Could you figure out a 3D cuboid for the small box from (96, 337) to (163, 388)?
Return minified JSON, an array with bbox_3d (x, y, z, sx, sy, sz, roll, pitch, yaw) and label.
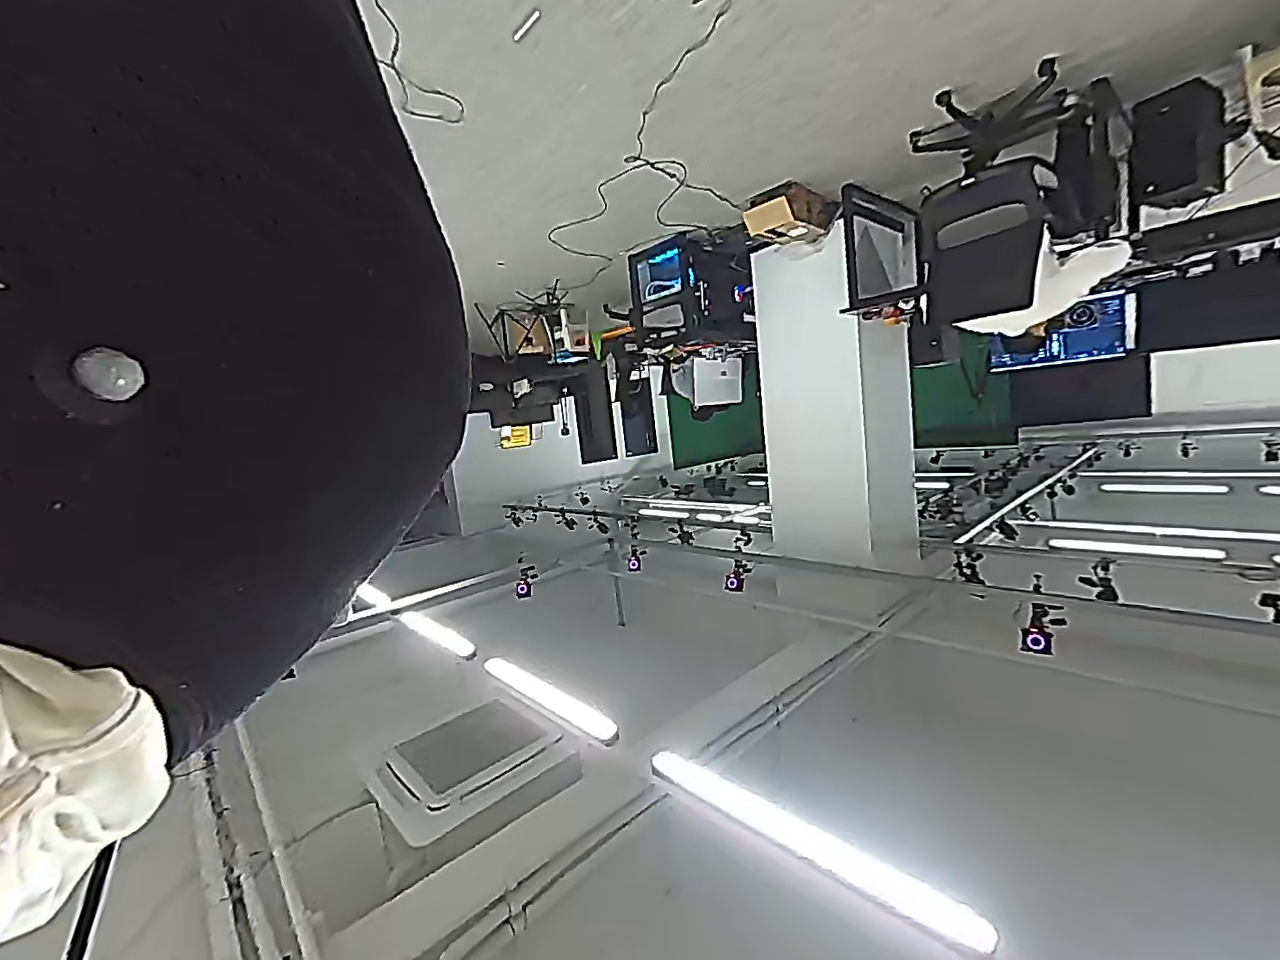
[{"bbox_3d":[-1.977,-0.451,2.093,0.179,0.176,0.168,0,-171,45],"label":"small box"}]
